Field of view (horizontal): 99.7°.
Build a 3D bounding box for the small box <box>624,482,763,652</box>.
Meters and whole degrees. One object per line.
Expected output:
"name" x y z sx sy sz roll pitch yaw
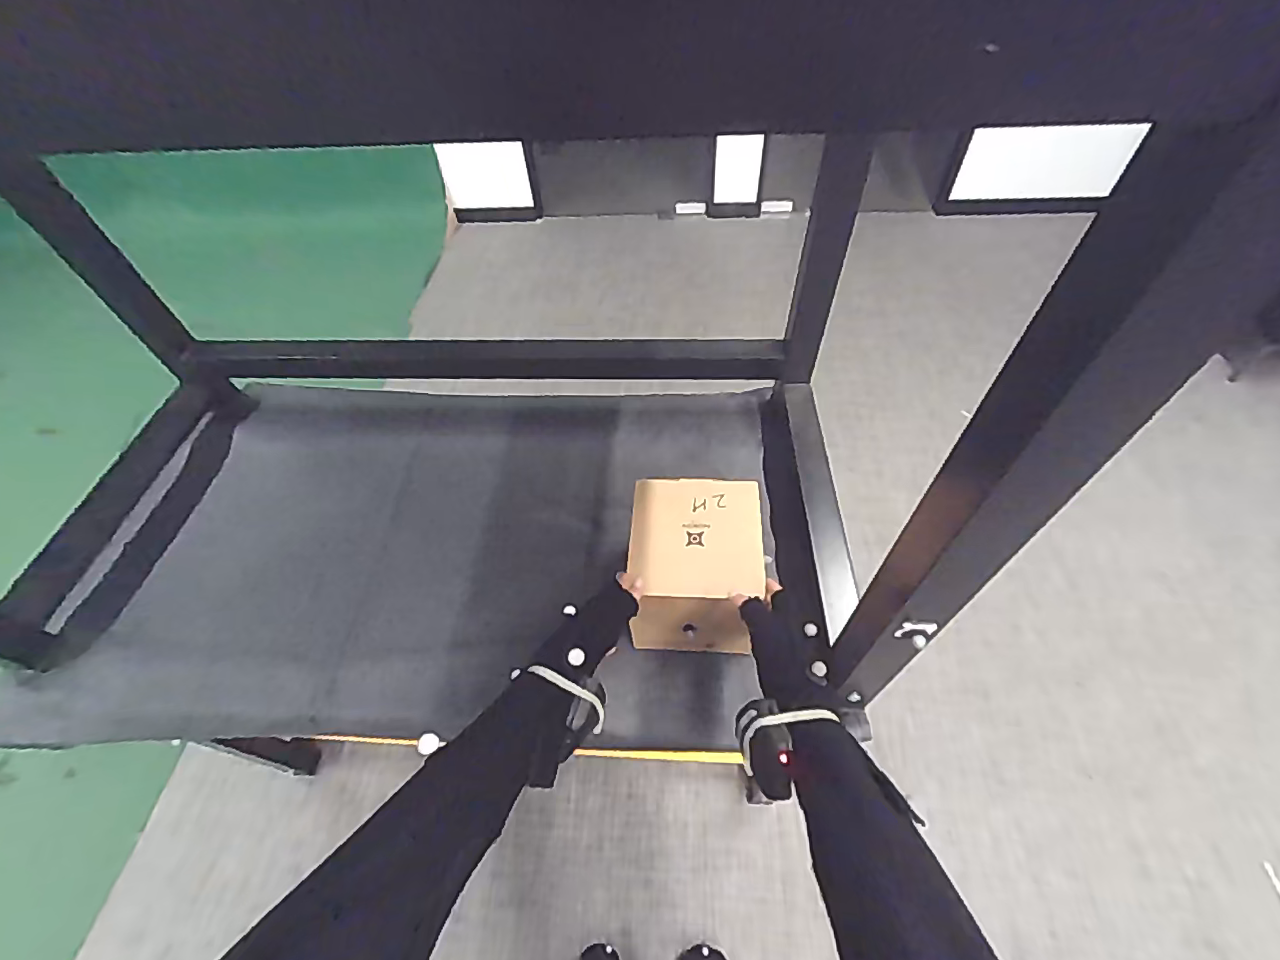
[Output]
"small box" 0.074 0.122 0.740 0.168 0.176 0.179 2 51 5
